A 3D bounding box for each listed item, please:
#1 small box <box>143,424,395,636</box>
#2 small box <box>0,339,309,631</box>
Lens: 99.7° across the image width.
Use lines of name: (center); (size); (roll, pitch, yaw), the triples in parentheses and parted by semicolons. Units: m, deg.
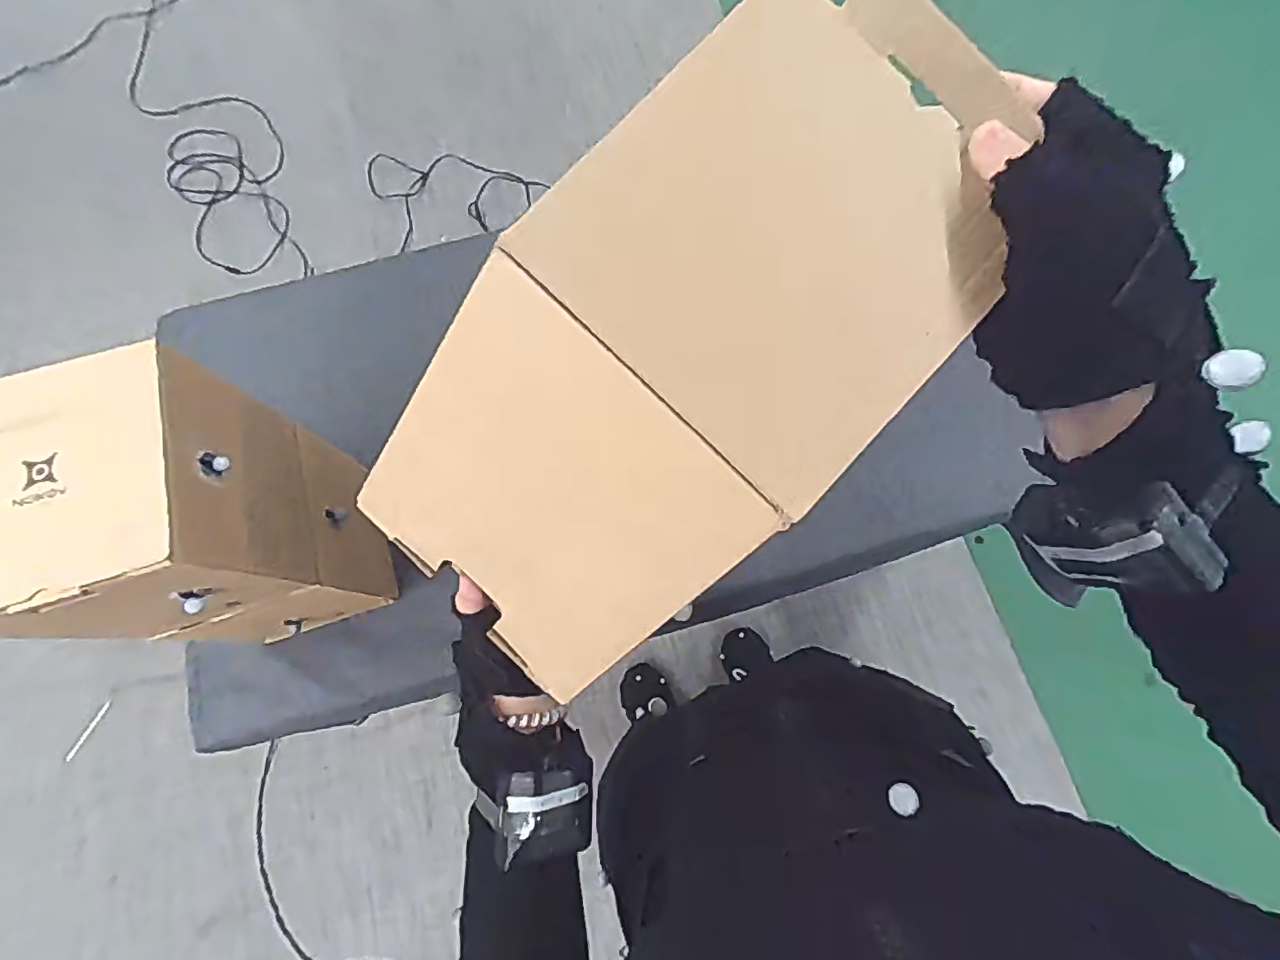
small box: (-0.400, 0.065, 0.601); (0.168, 0.176, 0.179); (-18, 74, -4)
small box: (-0.404, 0.019, 0.445); (0.168, 0.176, 0.179); (-16, 74, -5)
